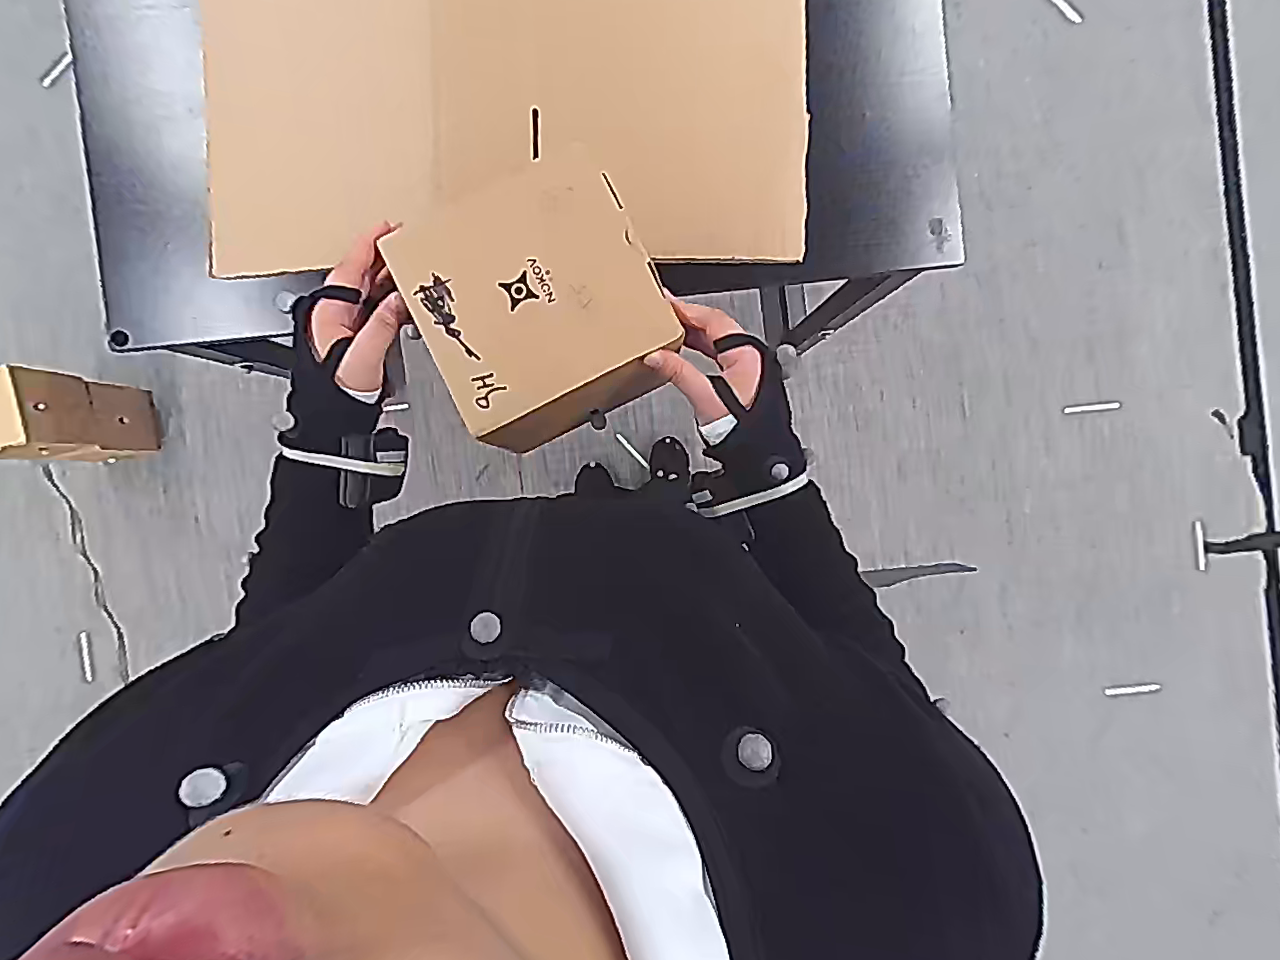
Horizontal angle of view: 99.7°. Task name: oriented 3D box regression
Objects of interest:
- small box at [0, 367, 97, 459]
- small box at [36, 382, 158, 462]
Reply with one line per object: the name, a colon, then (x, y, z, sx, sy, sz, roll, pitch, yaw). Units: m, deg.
small box: (-1.415, -0.146, 1.242, 0.168, 0.176, 0.179, -12, 91, -1)
small box: (-1.415, -0.143, 1.405, 0.168, 0.176, 0.179, -10, 92, 0)
